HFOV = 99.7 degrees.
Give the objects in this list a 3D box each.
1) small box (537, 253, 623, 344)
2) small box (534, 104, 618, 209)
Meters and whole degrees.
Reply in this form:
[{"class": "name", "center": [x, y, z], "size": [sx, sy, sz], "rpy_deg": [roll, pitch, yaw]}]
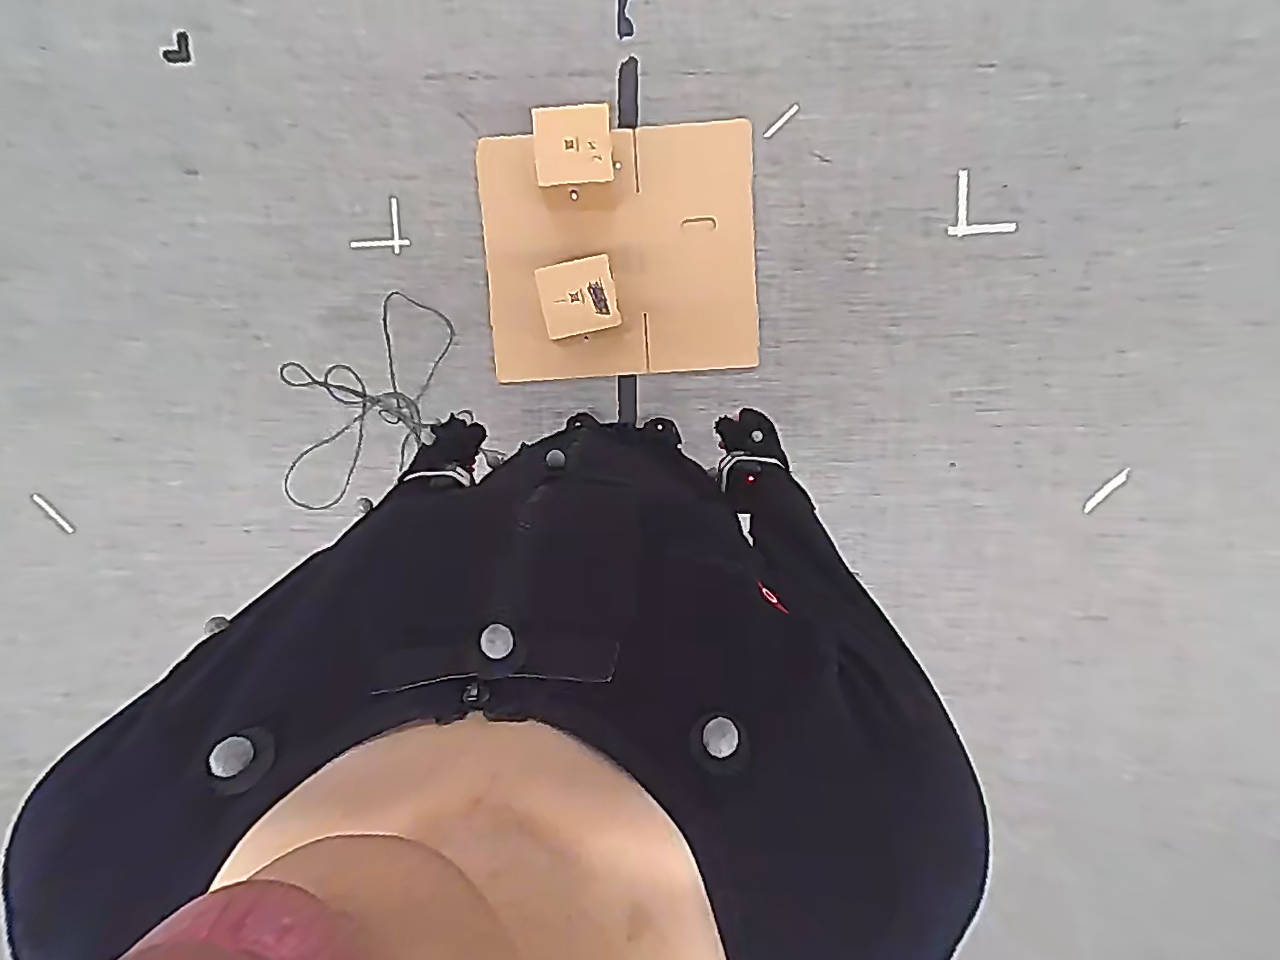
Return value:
[{"class": "small box", "center": [-0.140, -0.441, 1.338], "size": [0.179, 0.176, 0.168], "rpy_deg": [-12, 97, 2]}, {"class": "small box", "center": [-0.148, -0.765, 1.296], "size": [0.179, 0.176, 0.168], "rpy_deg": [-3, 97, 0]}]
